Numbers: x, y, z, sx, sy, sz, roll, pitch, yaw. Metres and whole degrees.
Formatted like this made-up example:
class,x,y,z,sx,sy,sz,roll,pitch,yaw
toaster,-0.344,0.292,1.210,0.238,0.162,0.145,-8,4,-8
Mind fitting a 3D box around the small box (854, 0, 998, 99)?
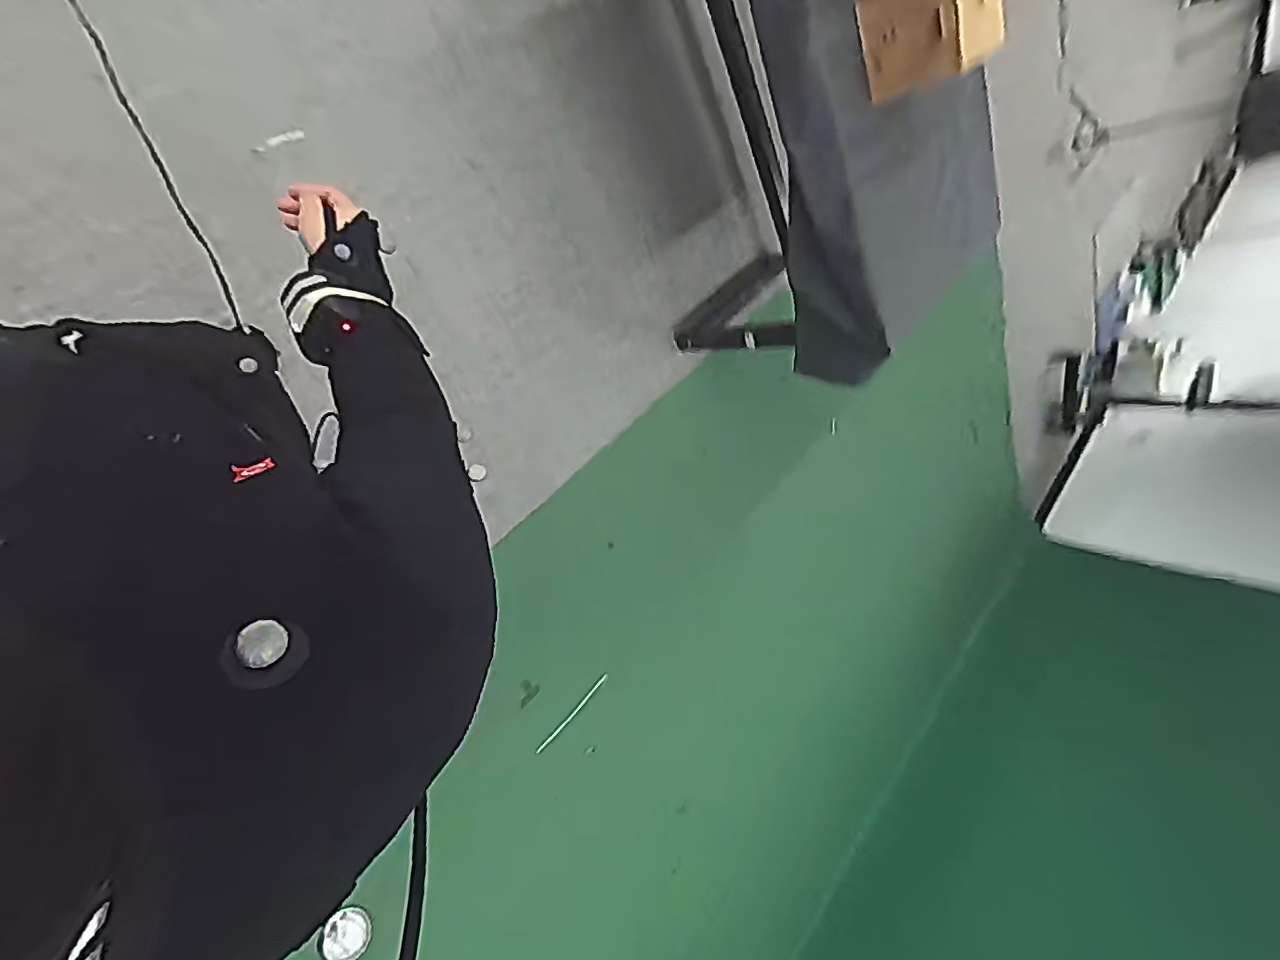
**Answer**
class,x,y,z,sx,sy,sz,roll,pitch,yaw
small box,0.517,-0.833,0.979,0.179,0.176,0.168,-43,123,-23
